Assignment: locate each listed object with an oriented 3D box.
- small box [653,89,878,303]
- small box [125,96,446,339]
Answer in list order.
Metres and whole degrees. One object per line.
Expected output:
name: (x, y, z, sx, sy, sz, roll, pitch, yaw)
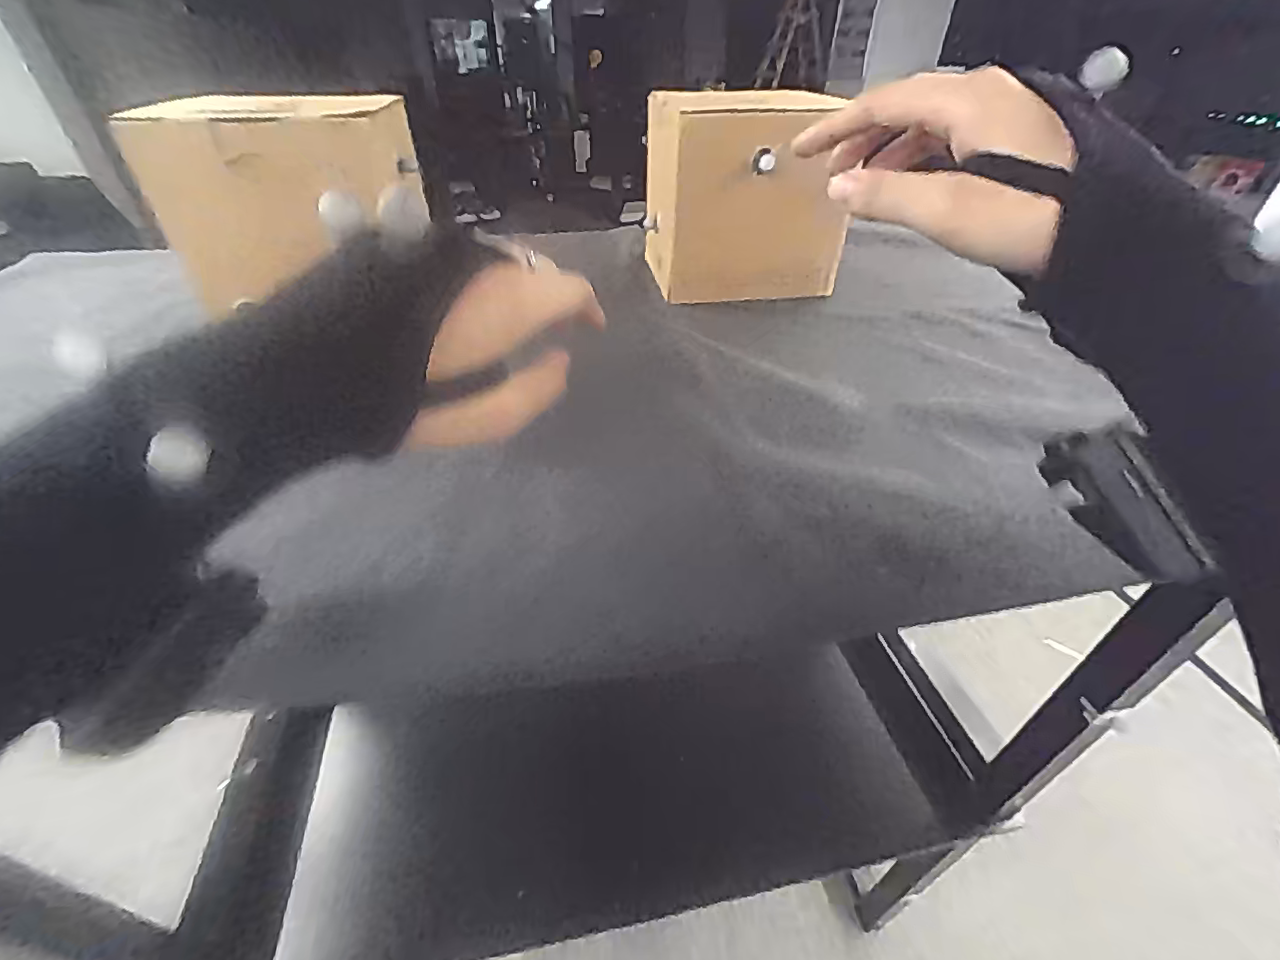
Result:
small box: (0.110, -0.298, 0.567, 0.179, 0.176, 0.168, -5, 39, -5)
small box: (-0.281, -0.234, 0.486, 0.168, 0.176, 0.179, -7, 39, -9)
